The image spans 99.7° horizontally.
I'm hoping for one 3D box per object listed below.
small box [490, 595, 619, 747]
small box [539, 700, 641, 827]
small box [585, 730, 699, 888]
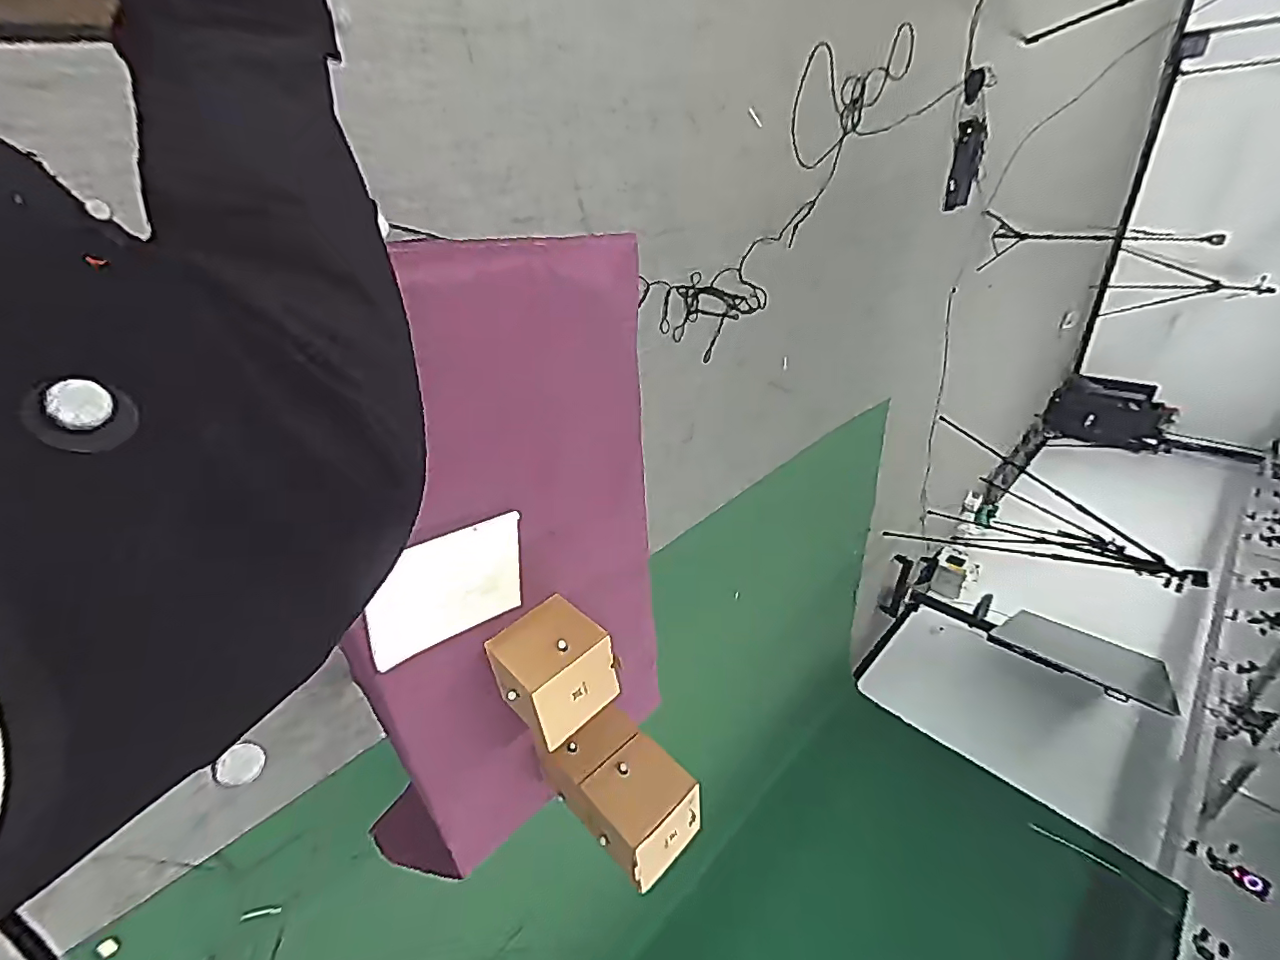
[{"bbox_3d":[-0.167,0.355,1.035,0.179,0.176,0.168,-31,128,-34],"label":"small box"},{"bbox_3d":[-0.111,0.615,1.215,0.179,0.176,0.168,-28,127,-36],"label":"small box"},{"bbox_3d":[0.001,0.661,1.105,0.179,0.176,0.168,-27,127,-35],"label":"small box"}]
